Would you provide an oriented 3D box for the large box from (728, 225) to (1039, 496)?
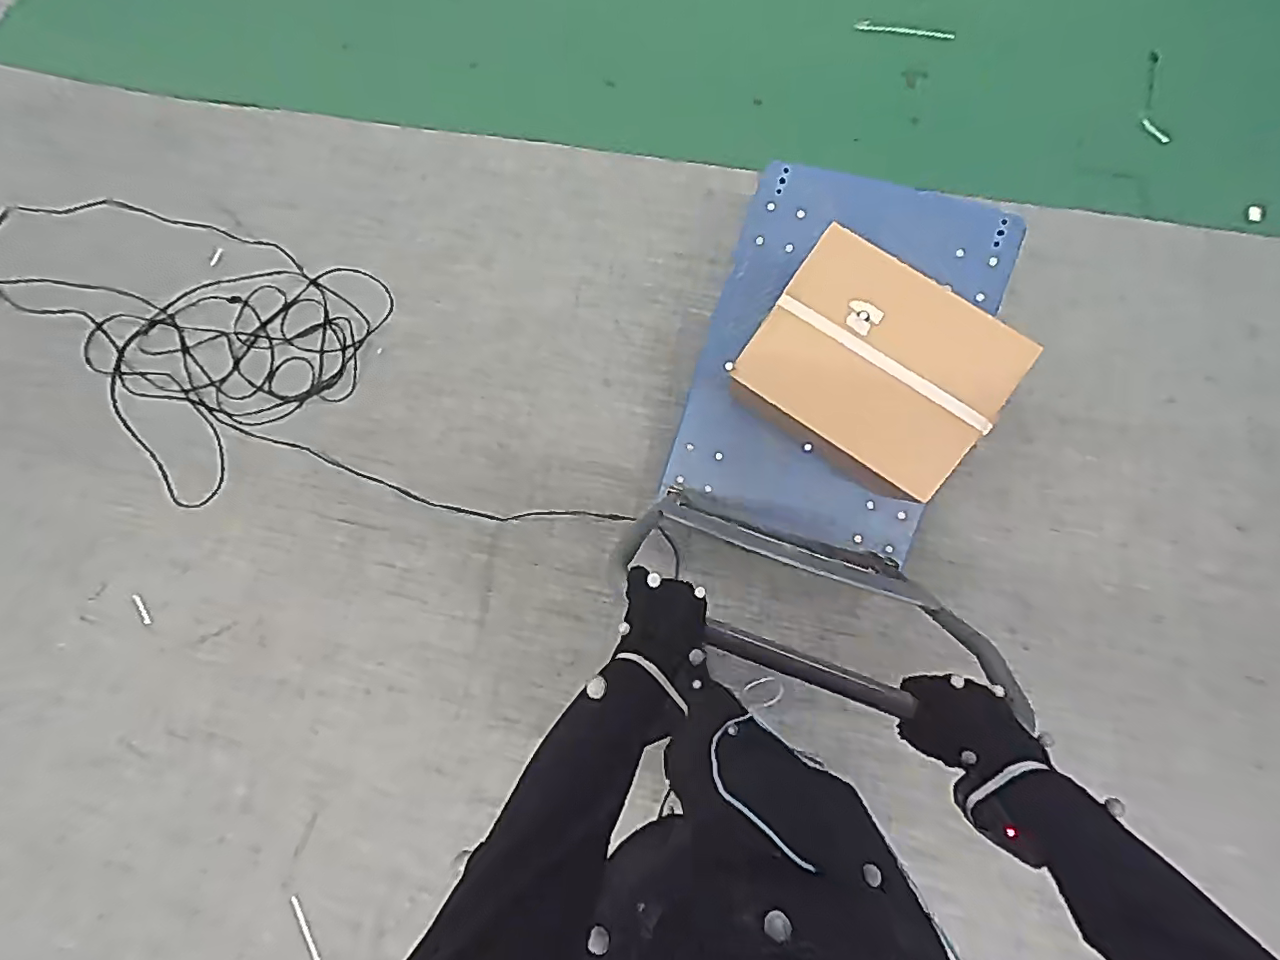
[{"bbox_3d":[0.431,-0.208,1.059,0.408,0.320,0.320,35,97,8],"label":"large box"}]
